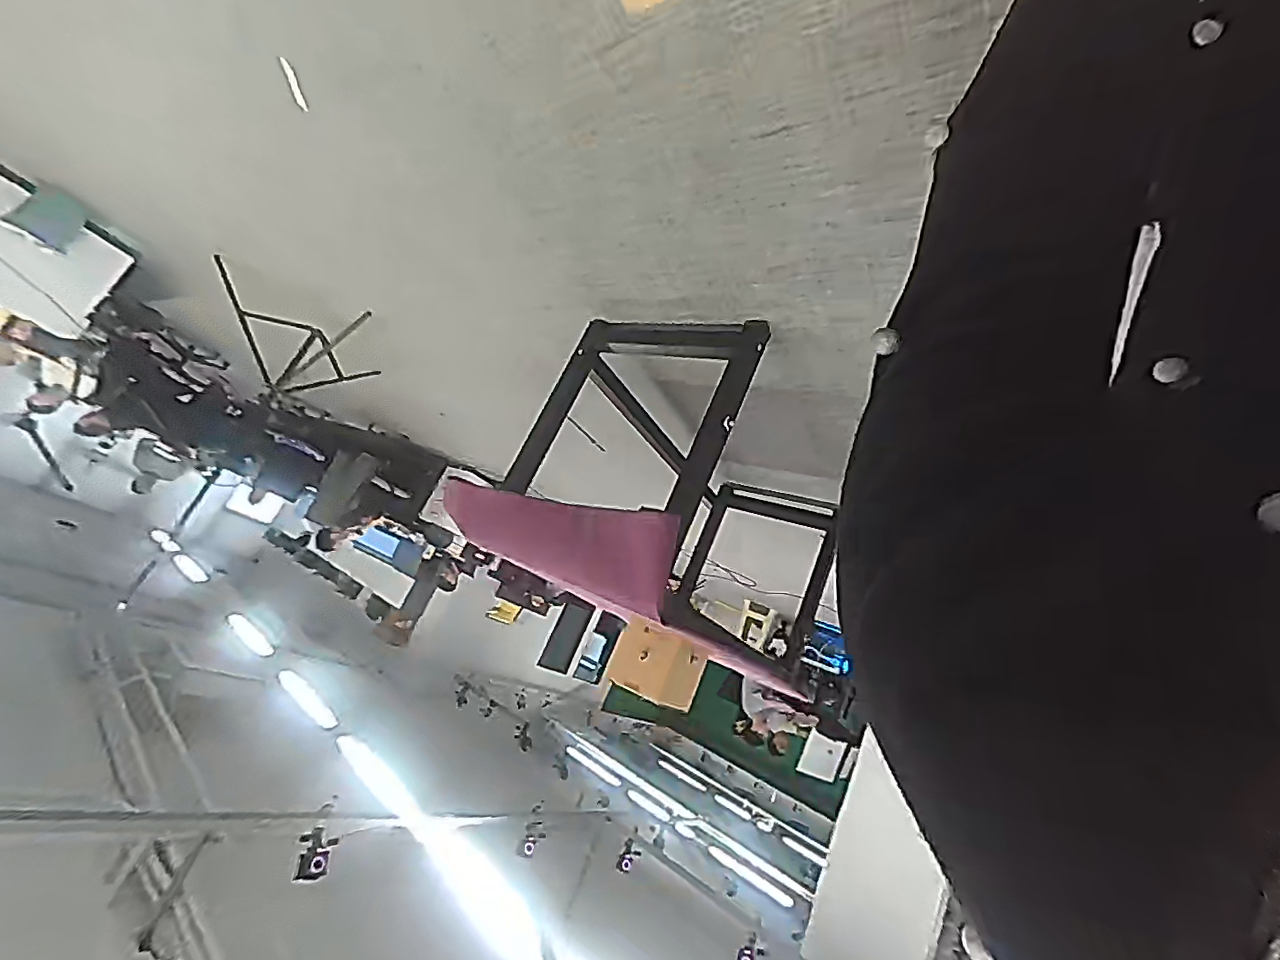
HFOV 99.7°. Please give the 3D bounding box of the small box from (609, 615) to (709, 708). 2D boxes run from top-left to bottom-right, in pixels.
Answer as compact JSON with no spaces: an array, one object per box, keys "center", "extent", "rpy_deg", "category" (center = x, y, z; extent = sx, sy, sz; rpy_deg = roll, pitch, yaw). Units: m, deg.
[{"center":[0.054,0.461,1.386],"extent":[0.168,0.176,0.179],"rpy_deg":[13,161,36],"category":"small box"}]
